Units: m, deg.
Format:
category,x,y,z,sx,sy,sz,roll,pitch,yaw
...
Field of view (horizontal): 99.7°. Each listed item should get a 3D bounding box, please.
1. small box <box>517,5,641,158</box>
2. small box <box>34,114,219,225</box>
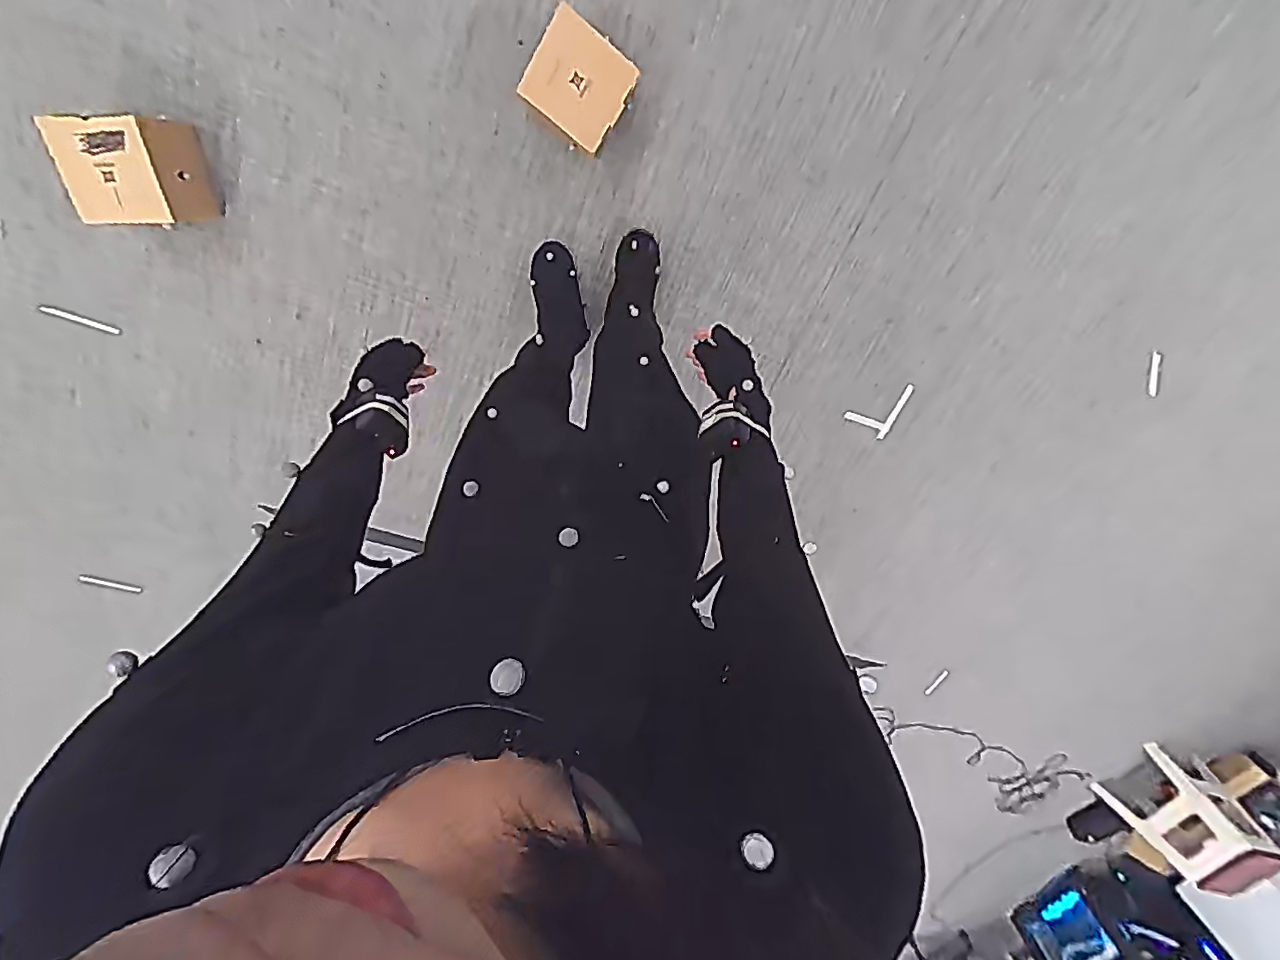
category,x,y,z,sx,sy,sz,roll,pitch,yaw
small box,-0.120,-0.768,1.066,0.179,0.176,0.168,30,110,-20
small box,-0.977,-0.597,1.051,0.168,0.176,0.179,-3,120,-5
